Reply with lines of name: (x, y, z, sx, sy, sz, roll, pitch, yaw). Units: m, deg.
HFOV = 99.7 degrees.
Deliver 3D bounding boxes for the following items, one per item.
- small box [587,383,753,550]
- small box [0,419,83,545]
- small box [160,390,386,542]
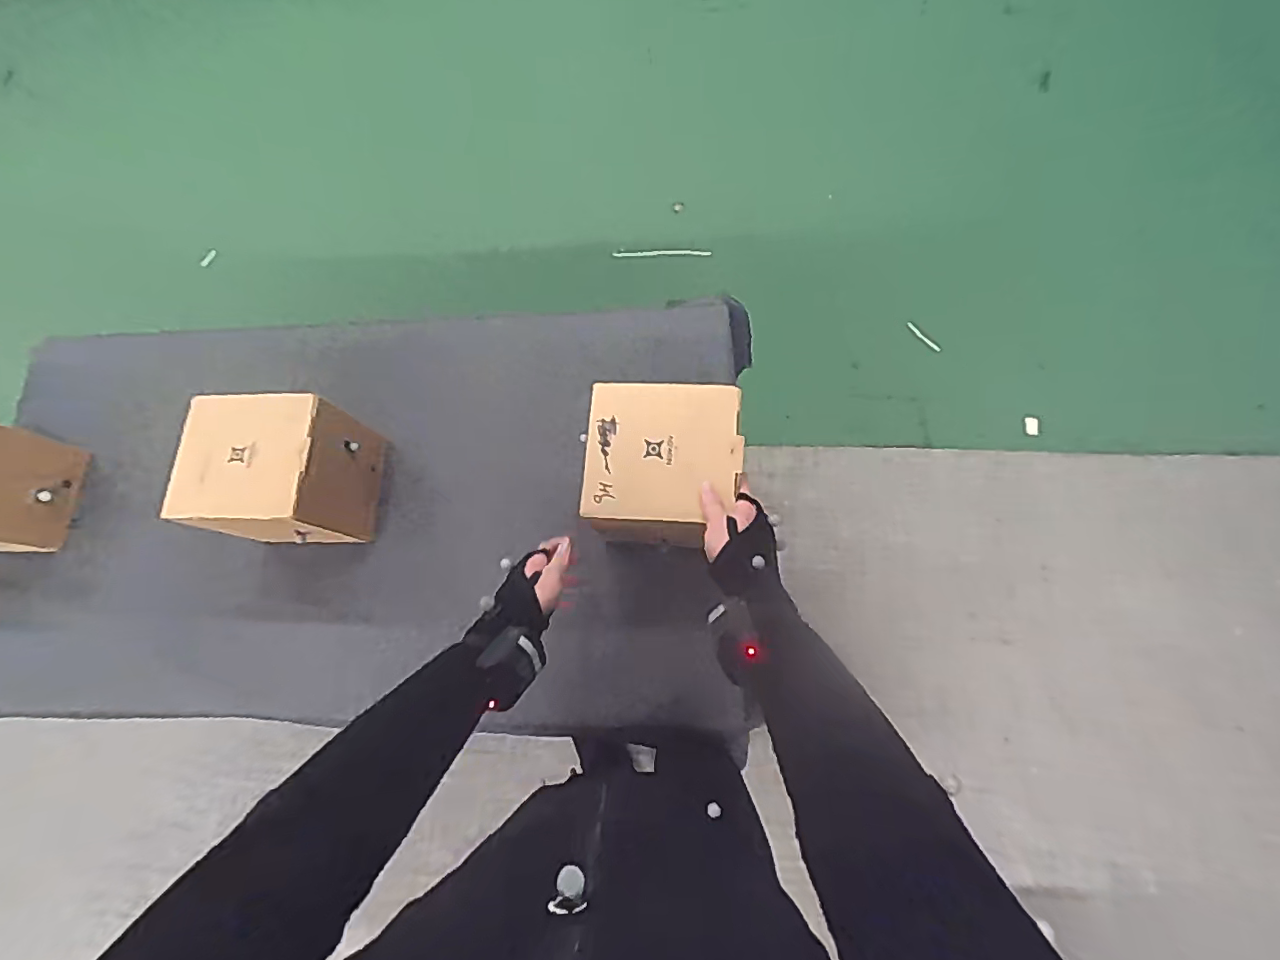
small box: (0.041, -0.008, 0.682, 0.179, 0.176, 0.168, 4, 75, 6)
small box: (-0.980, -0.001, 0.771, 0.179, 0.176, 0.168, 1, 75, 4)
small box: (-0.476, -0.011, 0.733, 0.179, 0.176, 0.168, -1, 73, 6)
